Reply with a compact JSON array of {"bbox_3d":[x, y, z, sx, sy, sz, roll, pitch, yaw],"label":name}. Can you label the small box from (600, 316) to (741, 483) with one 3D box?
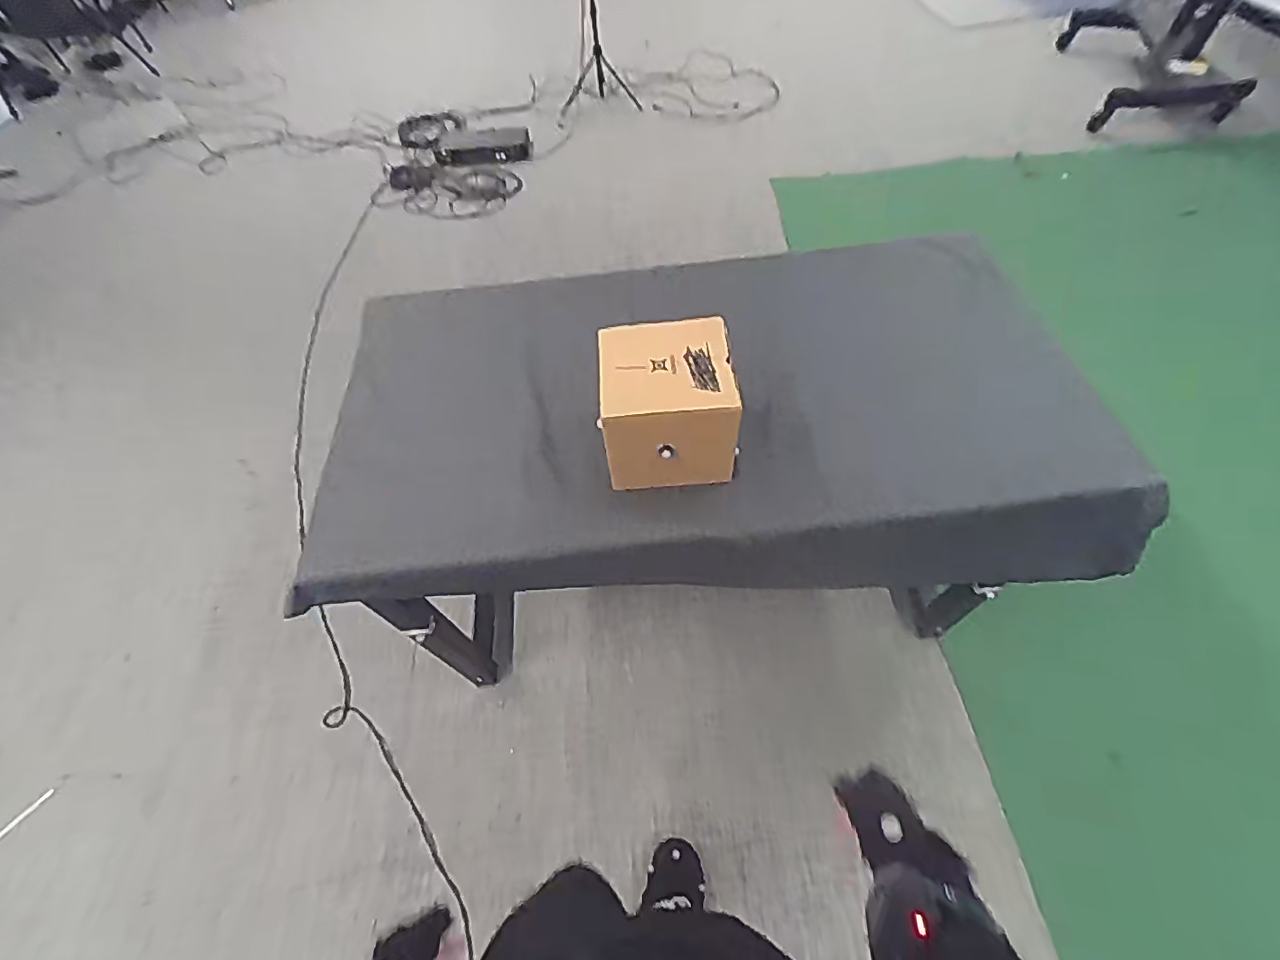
[{"bbox_3d":[0.038,-0.110,0.775,0.179,0.176,0.168,-4,57,1],"label":"small box"}]
